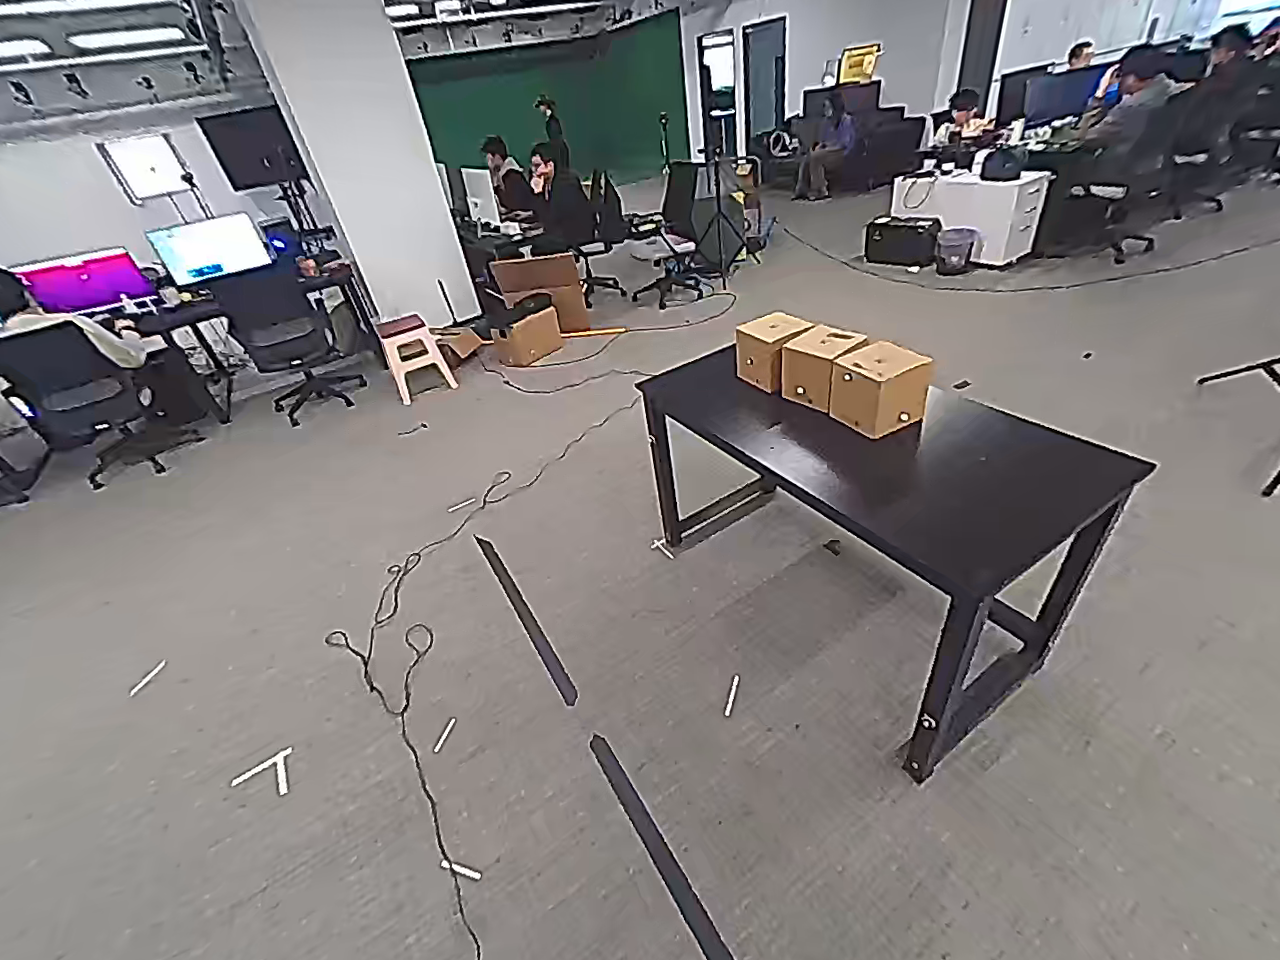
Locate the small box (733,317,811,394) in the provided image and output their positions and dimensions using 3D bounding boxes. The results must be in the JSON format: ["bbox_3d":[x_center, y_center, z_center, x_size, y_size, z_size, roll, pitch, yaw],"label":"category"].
[{"bbox_3d":[0.414,-0.389,1.691,0.179,0.176,0.168,-24,38,-18],"label":"small box"}]
